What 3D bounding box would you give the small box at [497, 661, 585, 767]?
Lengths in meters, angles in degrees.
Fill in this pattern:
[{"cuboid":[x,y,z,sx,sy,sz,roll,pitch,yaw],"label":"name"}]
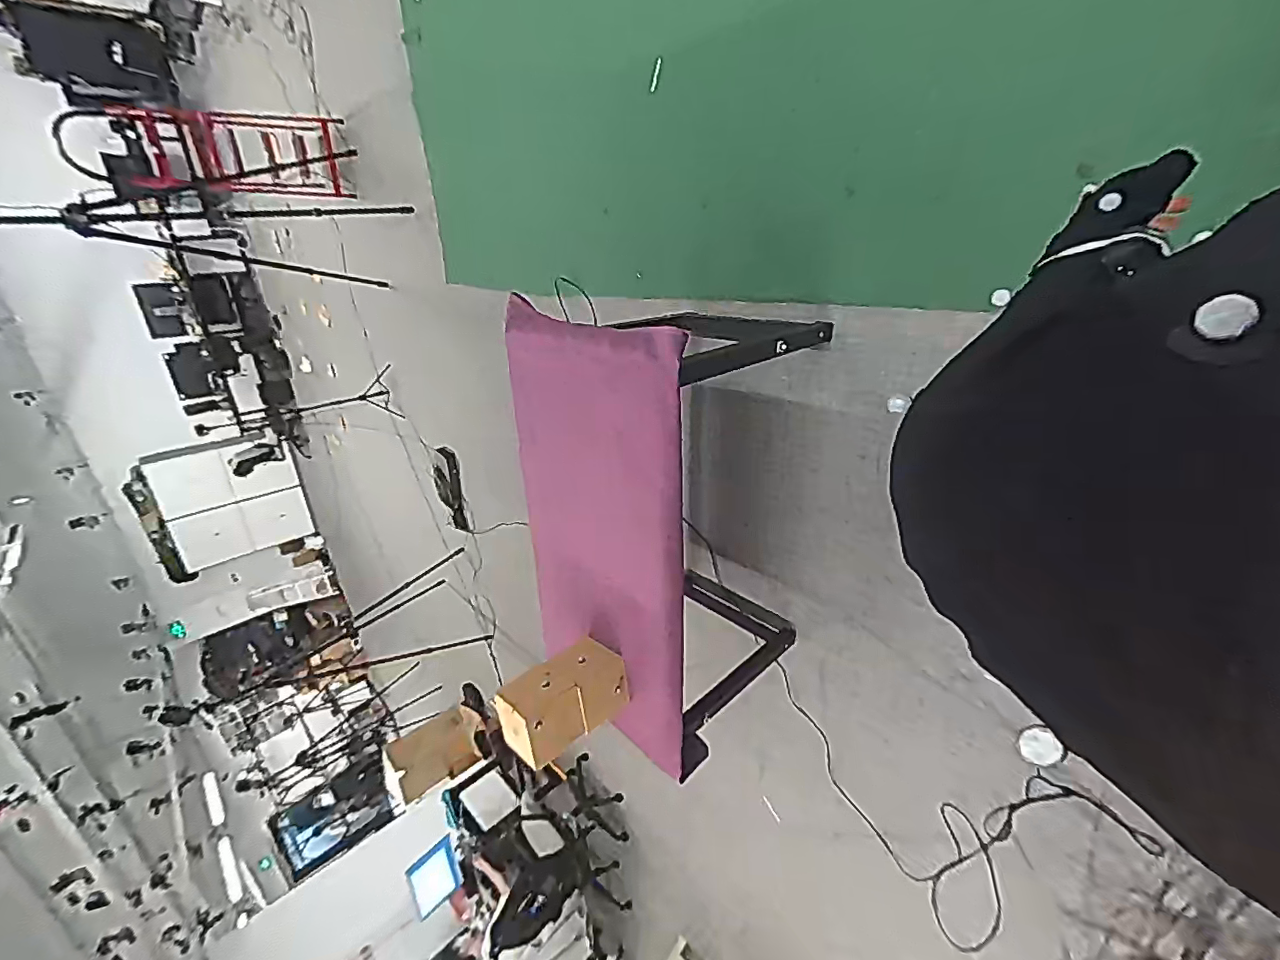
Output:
[{"cuboid":[-0.270,0.642,1.506,0.168,0.176,0.179,12,116,46],"label":"small box"}]
